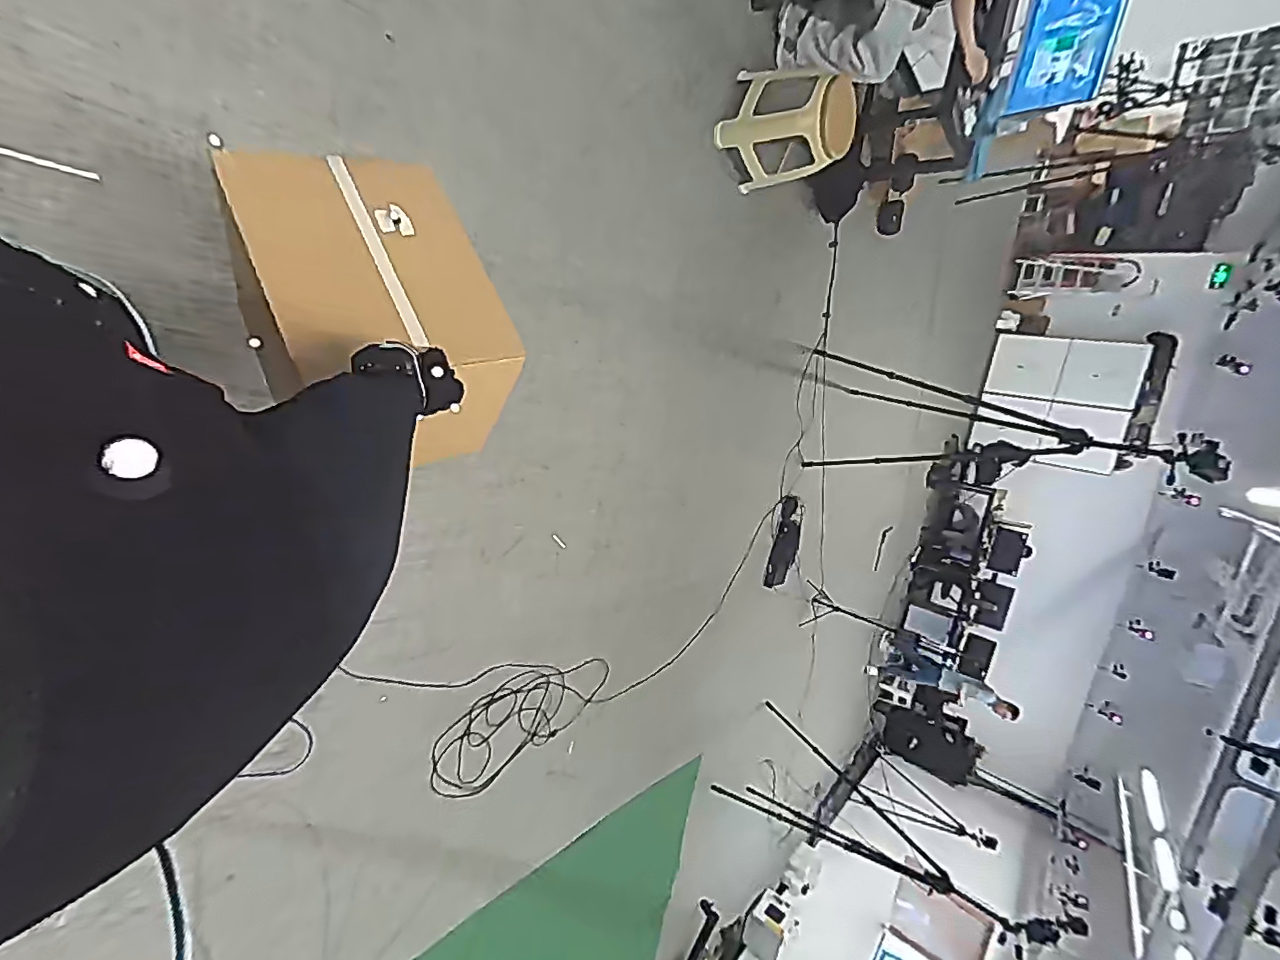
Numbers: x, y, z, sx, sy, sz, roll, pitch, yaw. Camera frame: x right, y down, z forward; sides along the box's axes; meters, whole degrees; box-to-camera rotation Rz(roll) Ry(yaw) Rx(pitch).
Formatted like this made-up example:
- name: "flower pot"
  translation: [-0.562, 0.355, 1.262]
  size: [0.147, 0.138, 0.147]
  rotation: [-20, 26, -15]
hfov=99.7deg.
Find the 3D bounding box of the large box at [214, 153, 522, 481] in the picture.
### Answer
- name: "large box"
  translation: [-0.457, -0.267, 0.924]
  size: [0.320, 0.320, 0.408]
  rotation: [-19, 74, -36]
